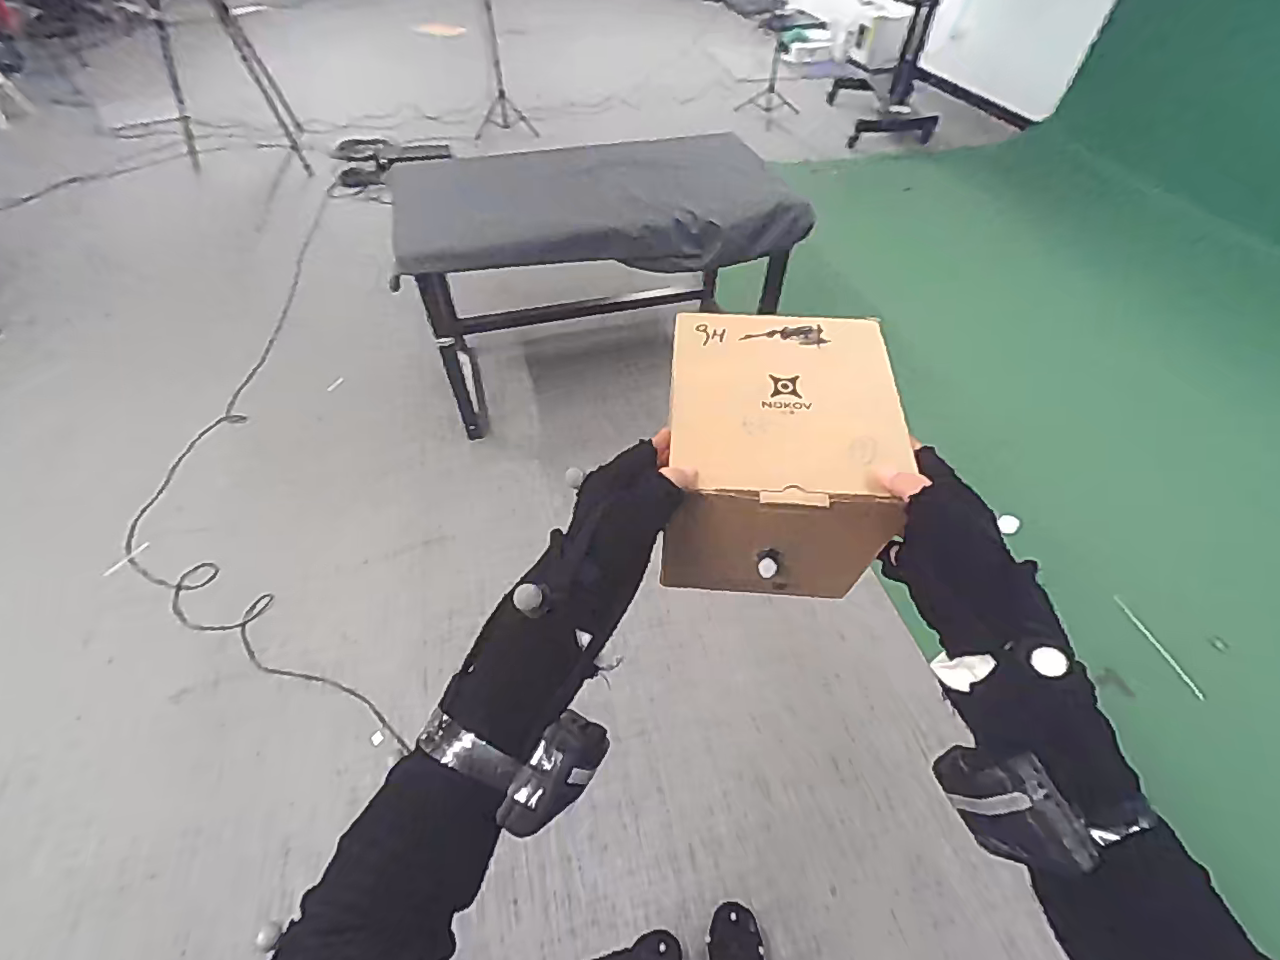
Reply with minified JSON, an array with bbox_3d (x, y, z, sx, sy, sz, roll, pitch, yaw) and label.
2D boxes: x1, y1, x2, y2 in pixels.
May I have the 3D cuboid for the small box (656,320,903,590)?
[{"bbox_3d":[0.101,-0.015,0.470,0.168,0.176,0.179,2,57,3],"label":"small box"}]
